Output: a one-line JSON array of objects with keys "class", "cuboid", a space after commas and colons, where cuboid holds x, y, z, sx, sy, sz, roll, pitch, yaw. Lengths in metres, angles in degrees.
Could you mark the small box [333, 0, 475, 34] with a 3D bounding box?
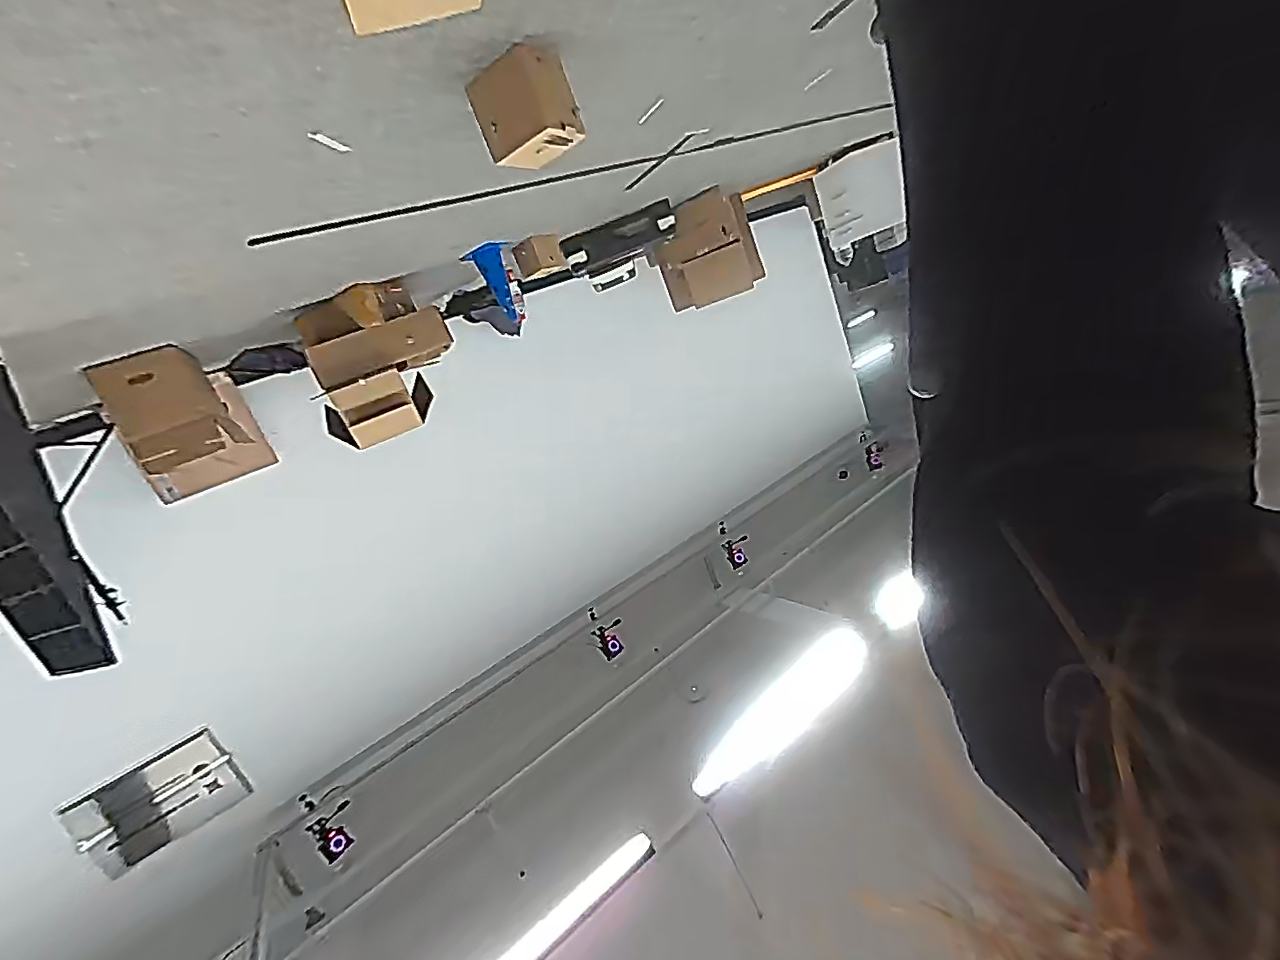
[{"class": "small box", "cuboid": [-0.305, -0.673, 0.620, 0.179, 0.176, 0.168, -25, -165, -13]}]
